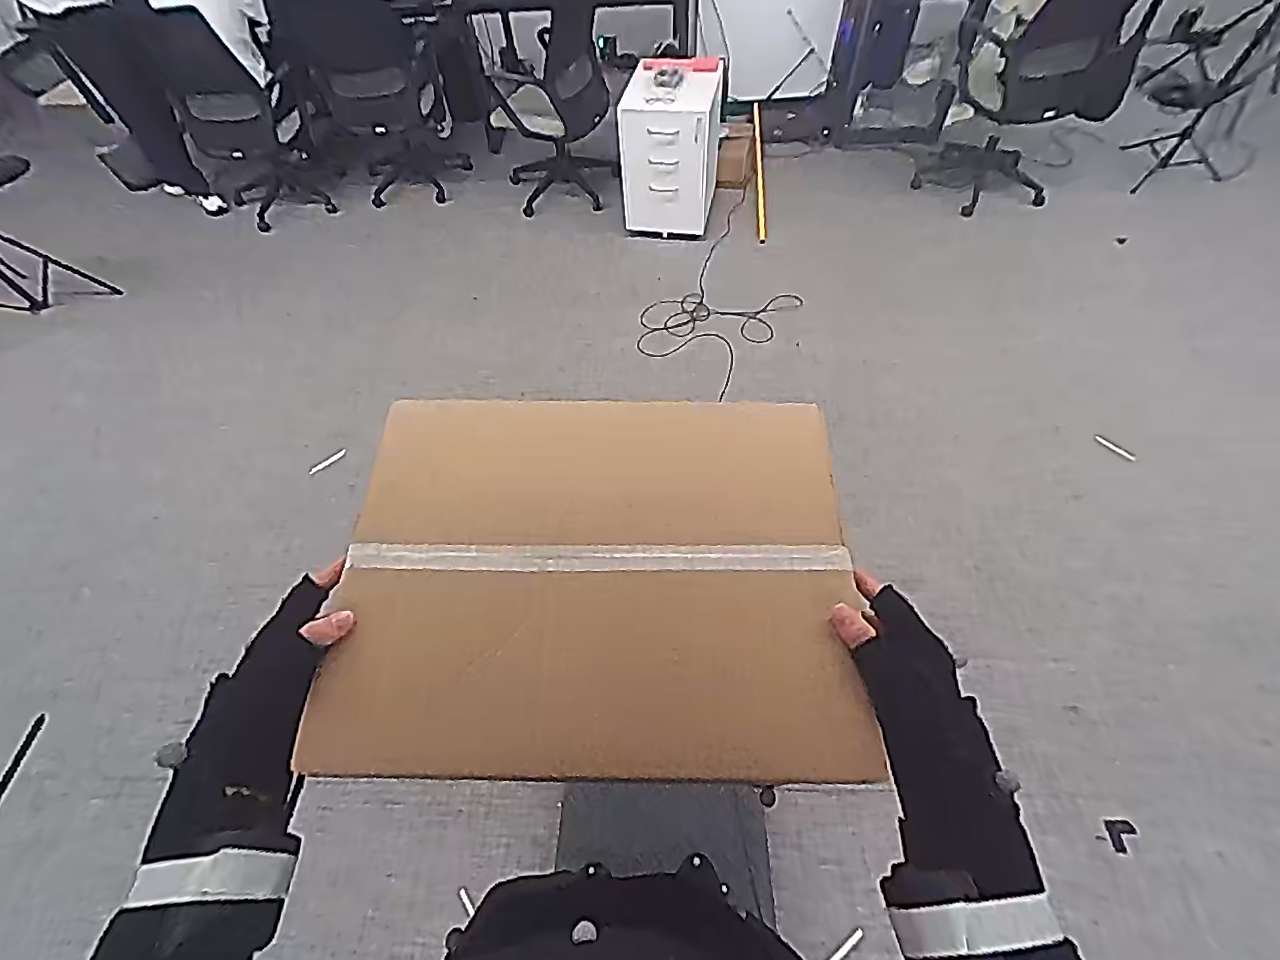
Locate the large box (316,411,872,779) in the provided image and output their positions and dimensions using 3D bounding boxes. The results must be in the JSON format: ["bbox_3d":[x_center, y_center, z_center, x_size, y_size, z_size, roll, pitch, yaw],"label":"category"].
[{"bbox_3d":[-0.030,0.139,0.582,0.408,0.320,0.320,0,61,1],"label":"large box"}]
